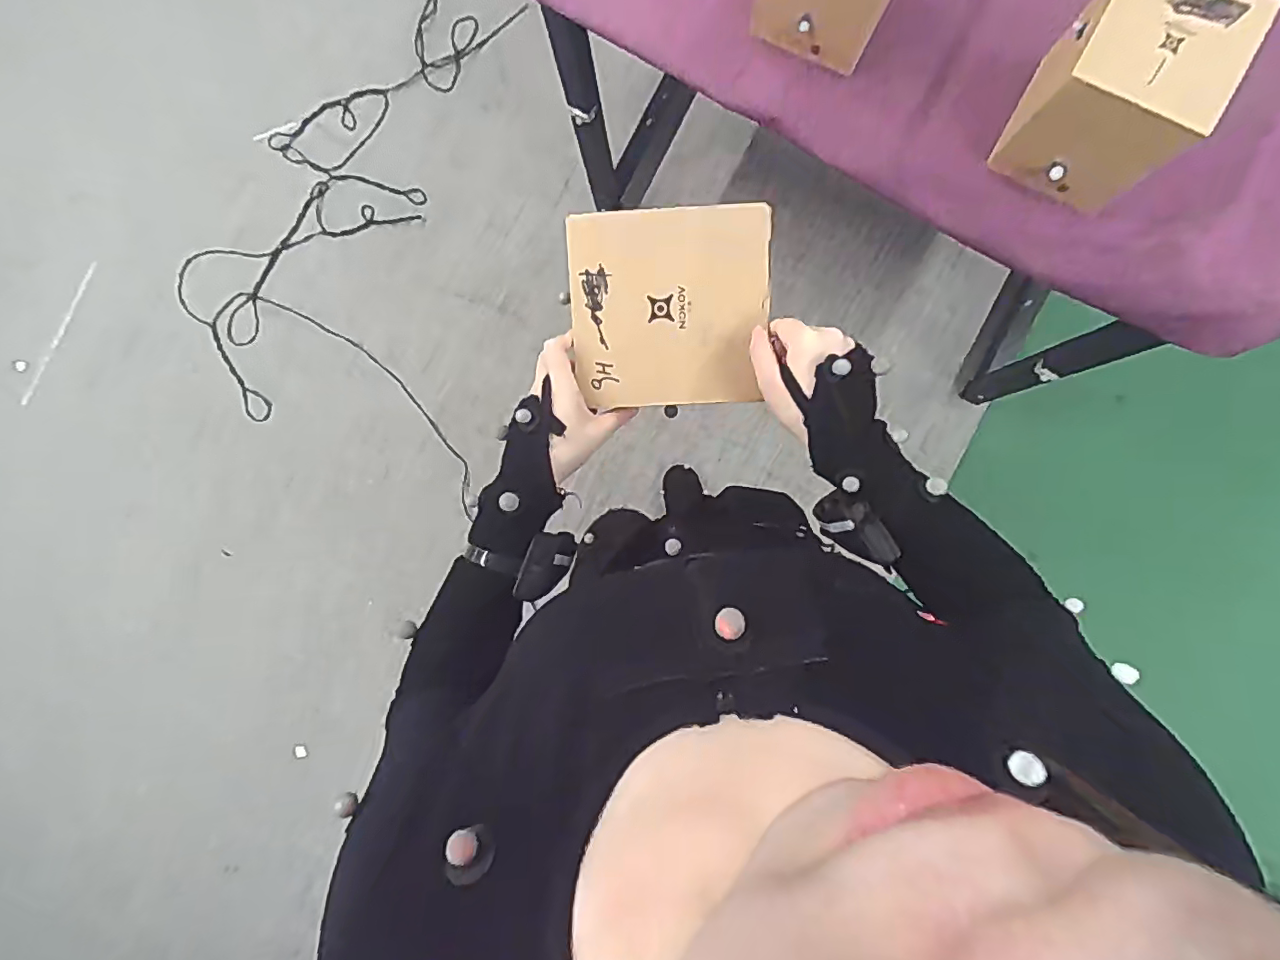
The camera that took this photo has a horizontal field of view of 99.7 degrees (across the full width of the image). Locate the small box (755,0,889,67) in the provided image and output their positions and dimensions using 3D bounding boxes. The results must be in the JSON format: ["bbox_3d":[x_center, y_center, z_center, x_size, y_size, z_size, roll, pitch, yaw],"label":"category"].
[{"bbox_3d":[0.262,-0.699,0.695,0.168,0.176,0.179,27,89,5],"label":"small box"}]

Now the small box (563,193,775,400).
[{"bbox_3d":[0.026,-0.166,0.533,0.179,0.176,0.168,-2,99,2],"label":"small box"}]

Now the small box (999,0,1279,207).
[{"bbox_3d":[0.593,-0.485,0.666,0.168,0.176,0.179,29,90,5],"label":"small box"}]
